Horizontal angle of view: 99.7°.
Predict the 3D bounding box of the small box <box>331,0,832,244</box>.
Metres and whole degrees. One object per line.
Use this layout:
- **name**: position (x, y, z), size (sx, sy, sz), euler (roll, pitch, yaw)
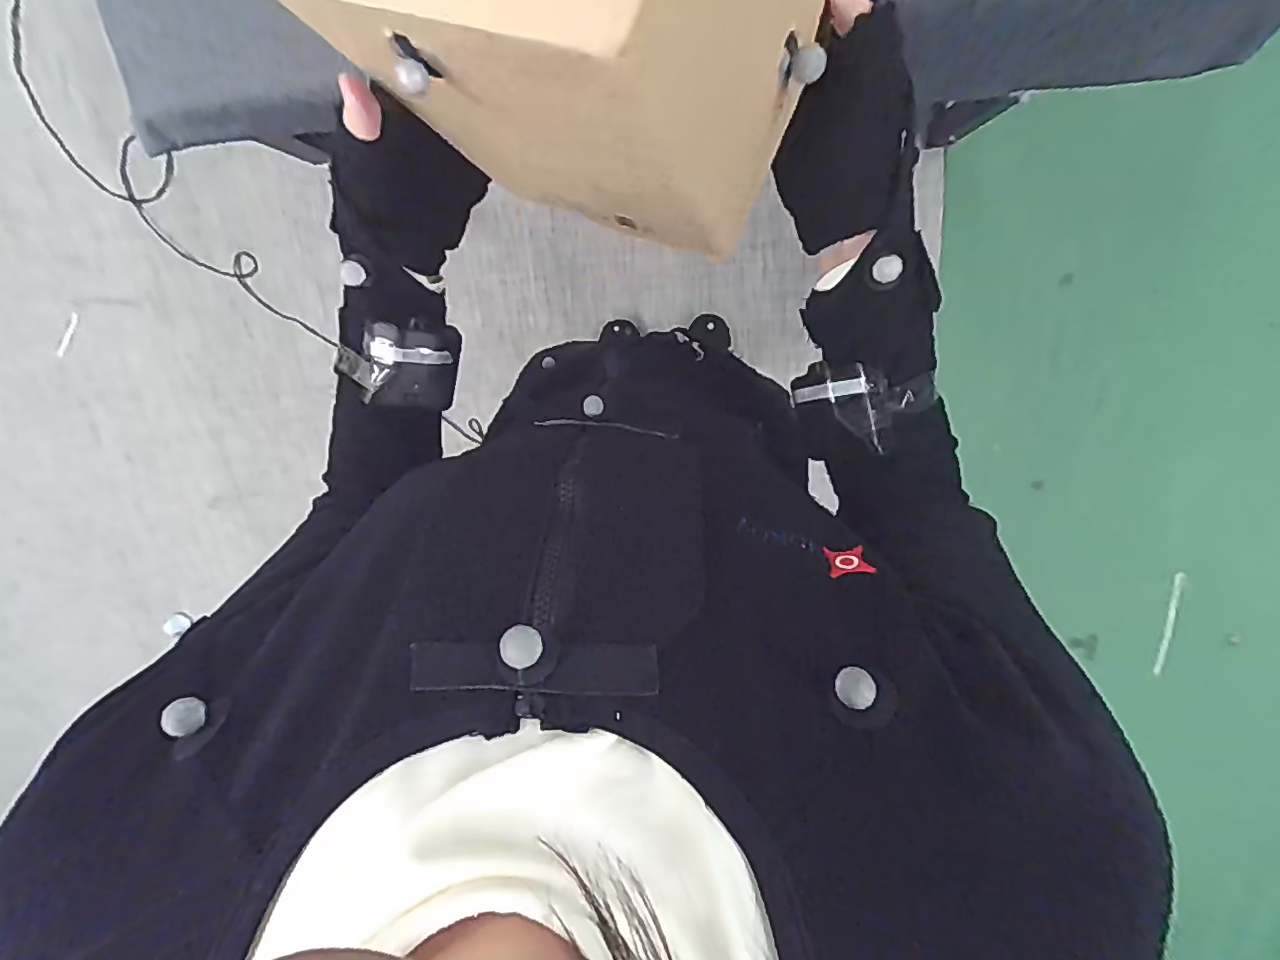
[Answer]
- **small box**: position (-0.012, -0.242, 0.246), size (0.168, 0.176, 0.179), euler (24, 98, 19)
